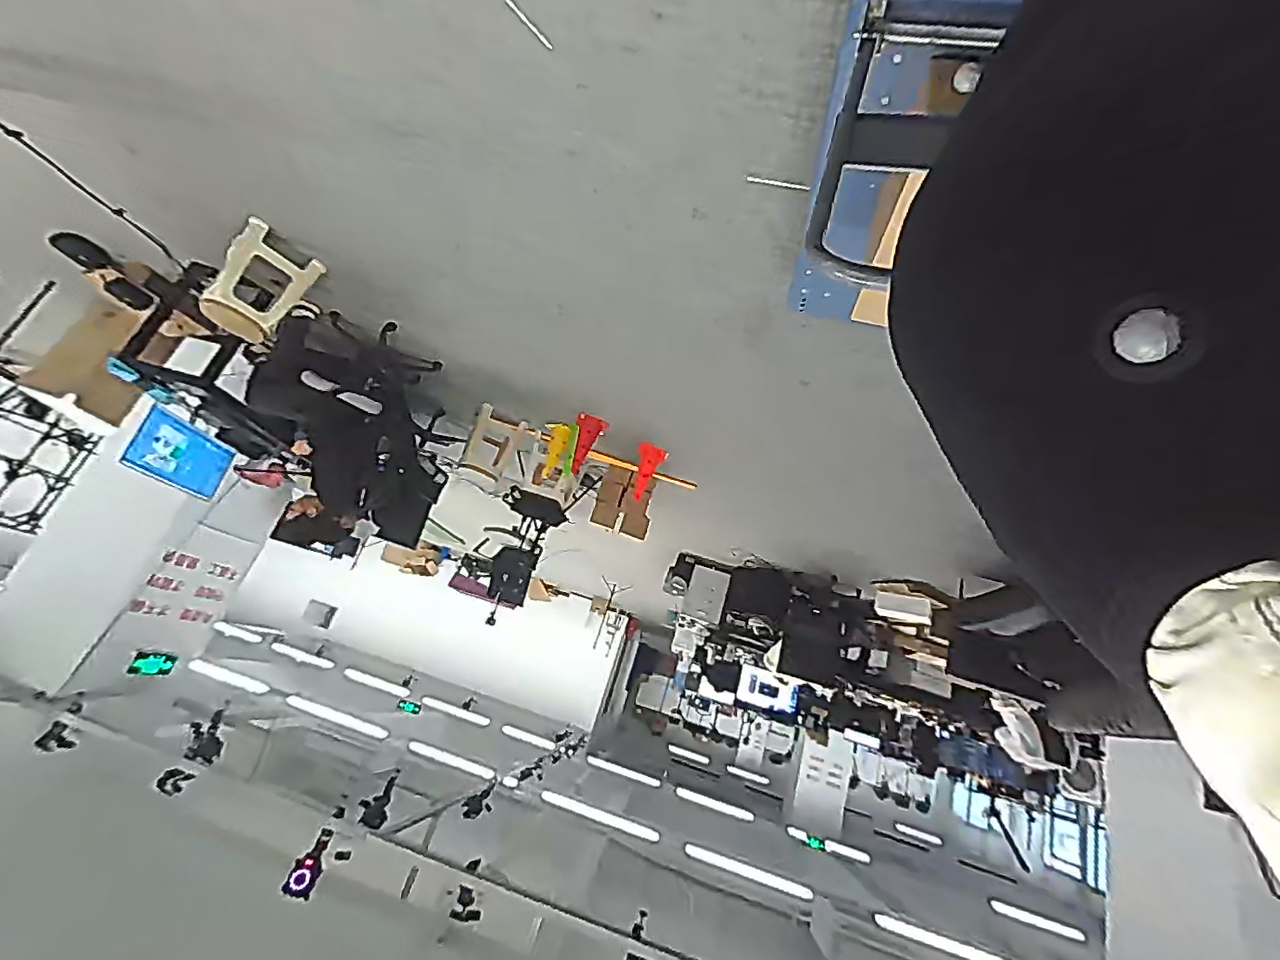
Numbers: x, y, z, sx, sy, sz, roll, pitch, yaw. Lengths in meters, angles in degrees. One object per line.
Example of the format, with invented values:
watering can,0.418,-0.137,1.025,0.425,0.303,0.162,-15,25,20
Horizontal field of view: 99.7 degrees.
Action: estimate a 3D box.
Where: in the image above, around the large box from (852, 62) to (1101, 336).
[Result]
large box,0.677,-0.575,1.146,0.320,0.320,0.408,14,160,11
